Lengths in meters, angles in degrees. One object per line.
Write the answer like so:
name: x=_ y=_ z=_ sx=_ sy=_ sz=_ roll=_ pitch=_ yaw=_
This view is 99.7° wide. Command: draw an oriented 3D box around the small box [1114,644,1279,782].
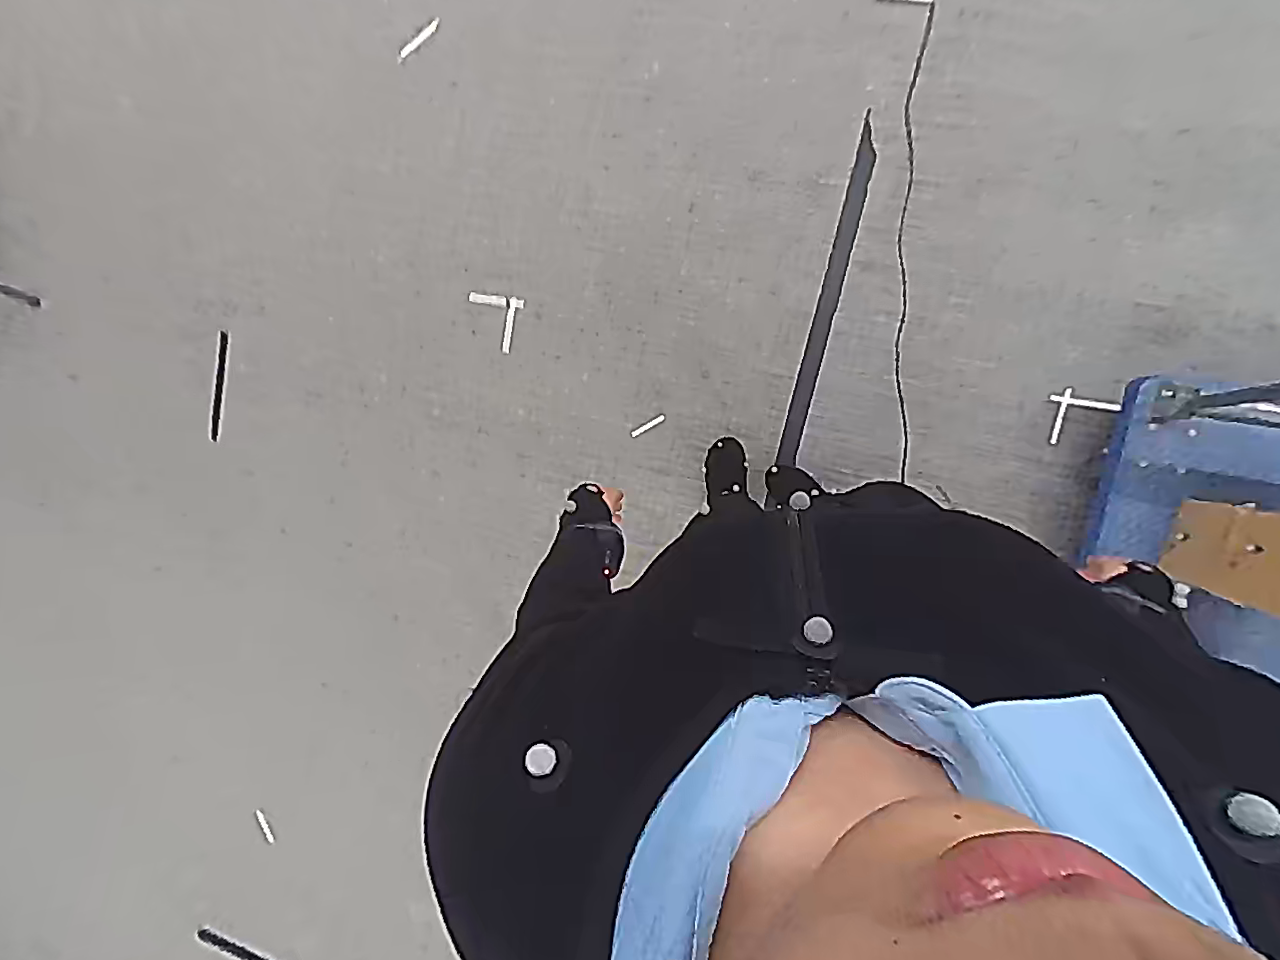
small box: x=1.105 y=0.444 z=1.064 sx=0.179 sy=0.176 sz=0.168 roll=16 pitch=96 yaw=10

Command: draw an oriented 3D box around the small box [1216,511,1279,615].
small box: x=1.122 y=0.152 z=0.876 sx=0.179 sy=0.176 sz=0.168 roll=14 pitch=96 yaw=11
